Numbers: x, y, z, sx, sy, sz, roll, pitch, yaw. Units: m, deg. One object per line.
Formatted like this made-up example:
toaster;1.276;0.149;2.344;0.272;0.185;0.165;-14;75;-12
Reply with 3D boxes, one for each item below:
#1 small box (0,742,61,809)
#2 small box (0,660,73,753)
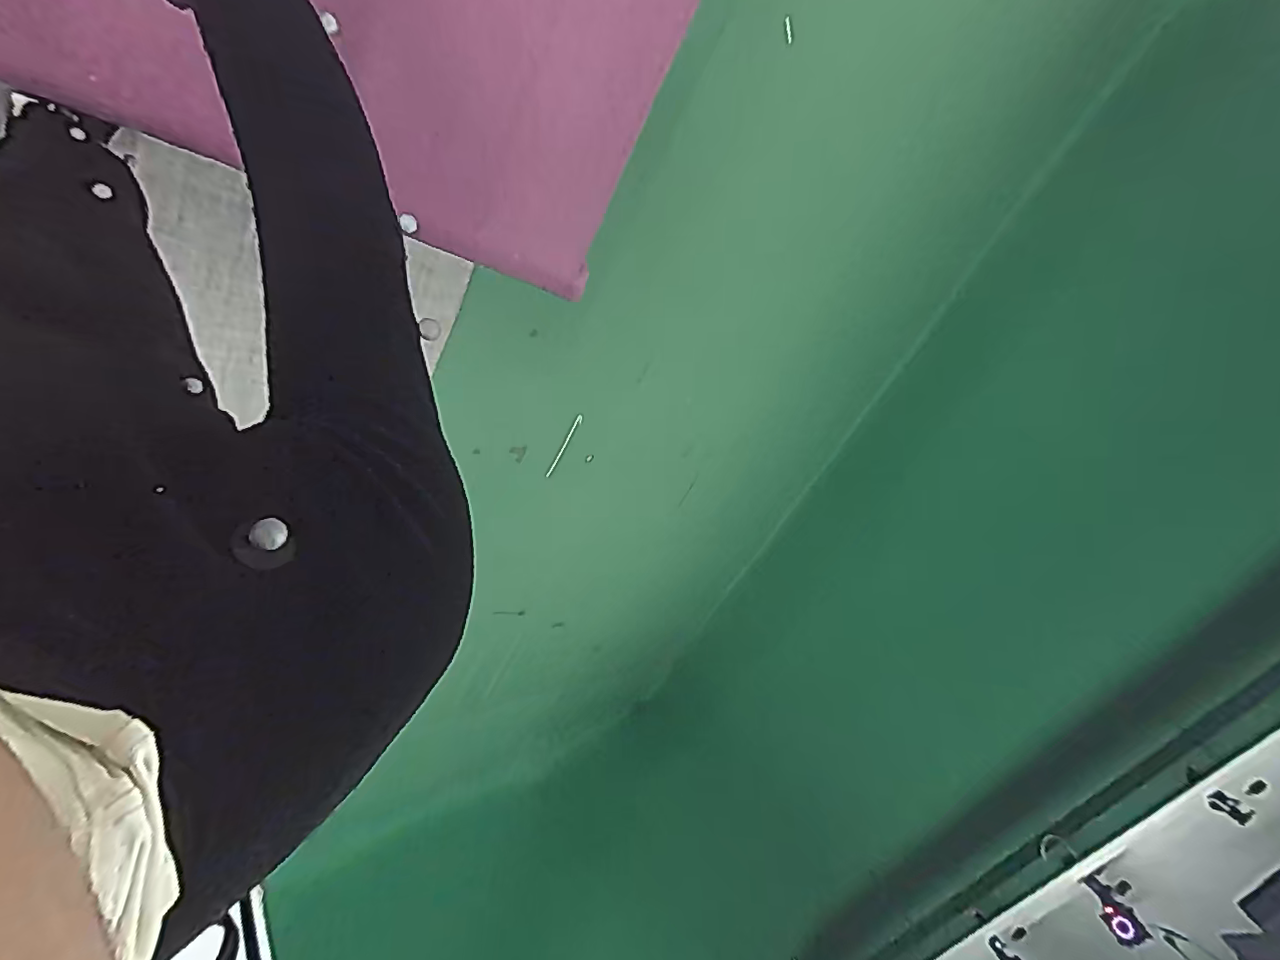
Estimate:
small box;-1.885;0.862;1.637;0.168;0.176;0.179;7;123;-49
small box;-1.745;0.643;1.539;0.168;0.176;0.179;7;123;-49
